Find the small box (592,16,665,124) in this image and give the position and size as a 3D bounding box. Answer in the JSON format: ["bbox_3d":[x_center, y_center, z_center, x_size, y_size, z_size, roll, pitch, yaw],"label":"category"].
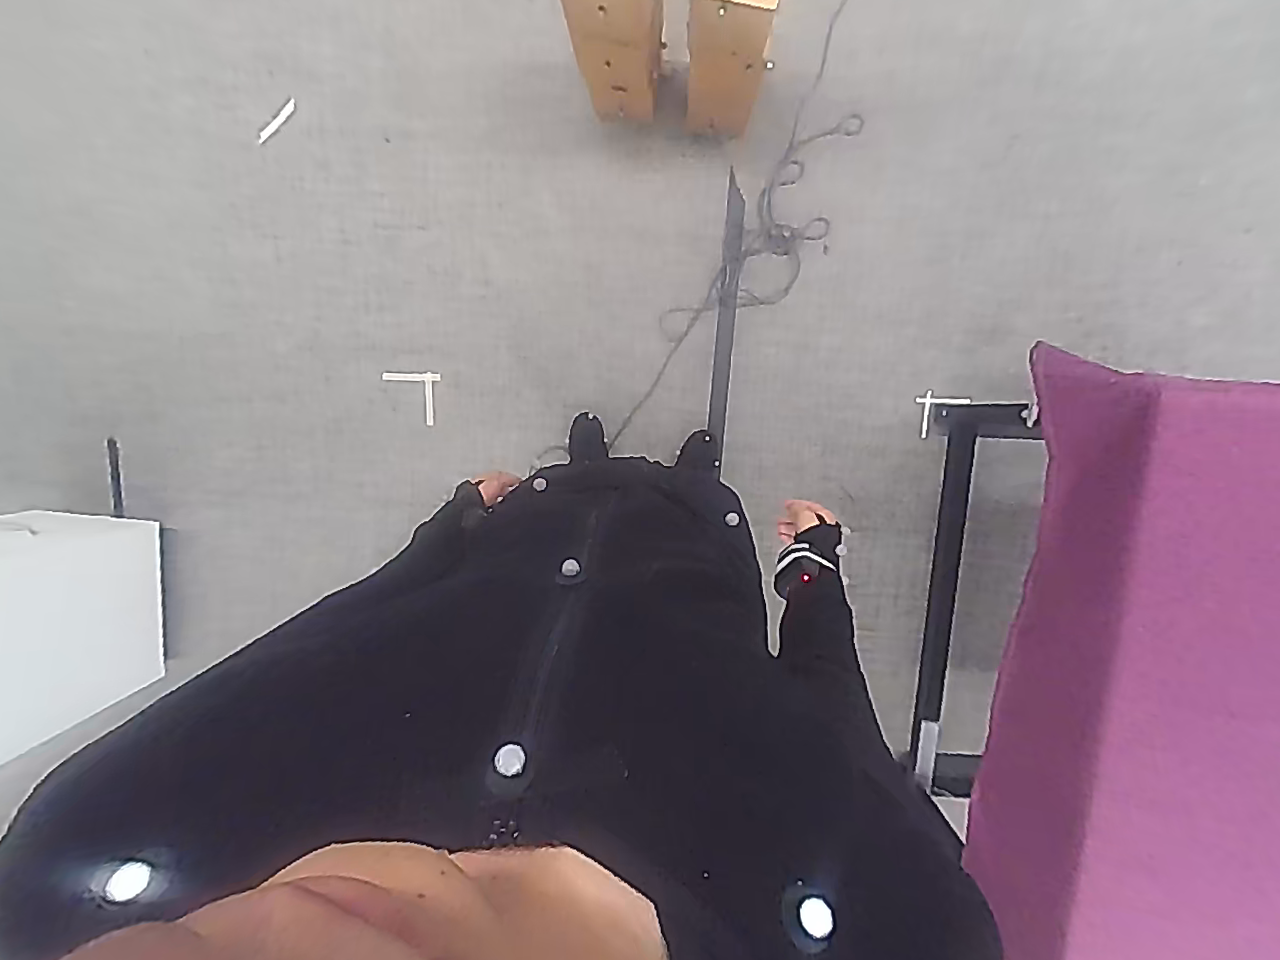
[{"bbox_3d":[-0.030,-1.066,1.399,0.168,0.176,0.179,9,98,2],"label":"small box"}]

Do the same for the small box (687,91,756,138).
[{"bbox_3d":[0.213,-1.025,1.398,0.168,0.176,0.179,5,98,2],"label":"small box"}]

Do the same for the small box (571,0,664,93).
[{"bbox_3d":[-0.044,-1.030,1.238,0.179,0.176,0.168,13,97,1],"label":"small box"}]

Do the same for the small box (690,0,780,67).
[{"bbox_3d":[0.198,-0.981,1.074,0.168,0.176,0.179,13,97,1],"label":"small box"}]

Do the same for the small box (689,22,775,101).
[{"bbox_3d":[0.207,-1.004,1.237,0.179,0.176,0.168,6,97,2],"label":"small box"}]
